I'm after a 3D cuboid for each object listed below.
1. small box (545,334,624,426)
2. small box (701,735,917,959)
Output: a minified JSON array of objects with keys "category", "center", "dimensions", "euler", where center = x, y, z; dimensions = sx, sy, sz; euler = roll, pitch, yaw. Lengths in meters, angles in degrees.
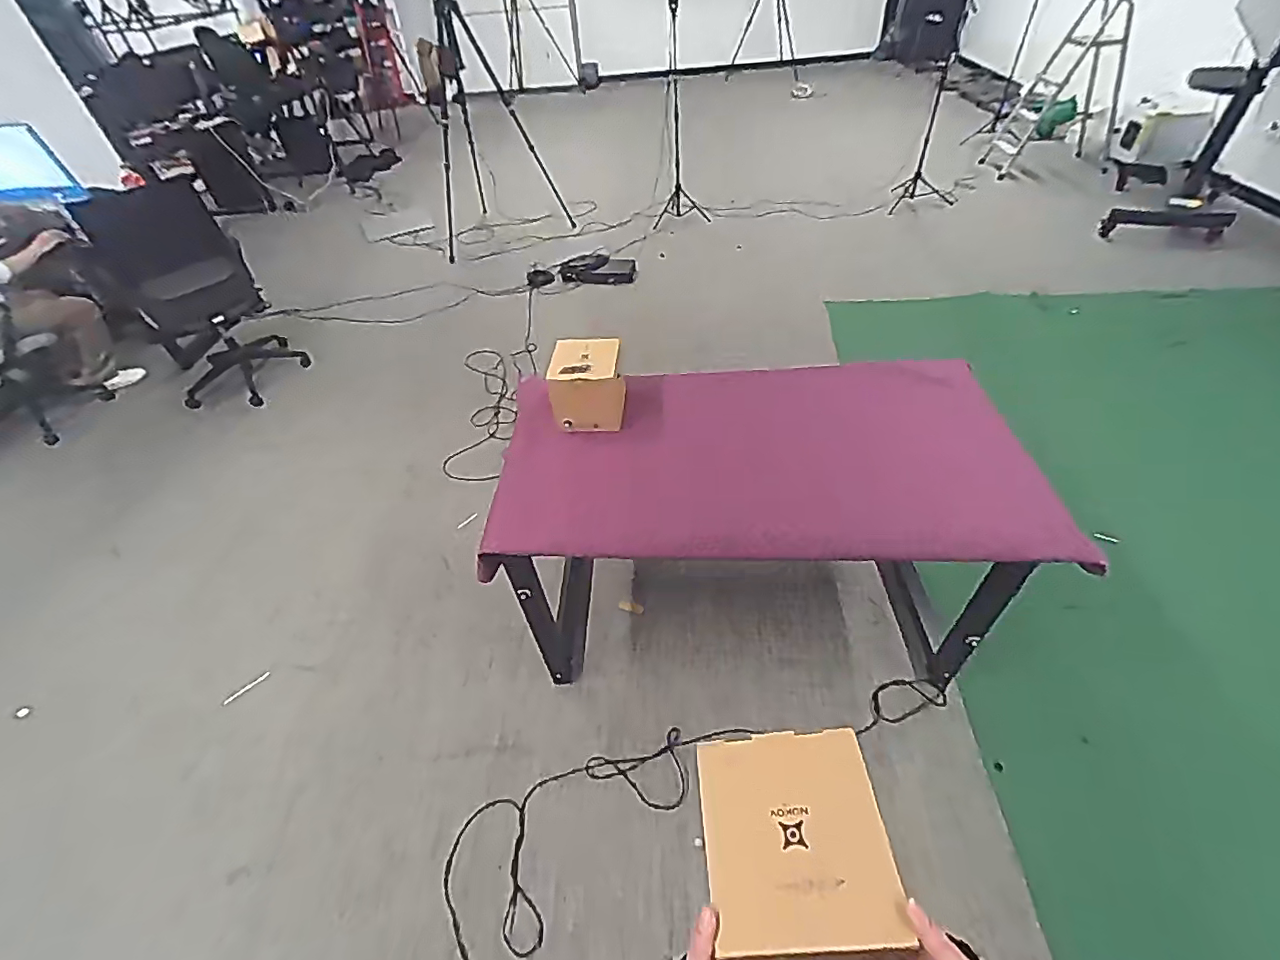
[{"category":"small box","center":[-0.133,-0.252,1.375],"dimensions":[0.168,0.176,0.179],"euler":[1,47,5]},{"category":"small box","center":[0.156,0.389,0.558],"dimensions":[0.168,0.176,0.179],"euler":[-8,44,6]}]
